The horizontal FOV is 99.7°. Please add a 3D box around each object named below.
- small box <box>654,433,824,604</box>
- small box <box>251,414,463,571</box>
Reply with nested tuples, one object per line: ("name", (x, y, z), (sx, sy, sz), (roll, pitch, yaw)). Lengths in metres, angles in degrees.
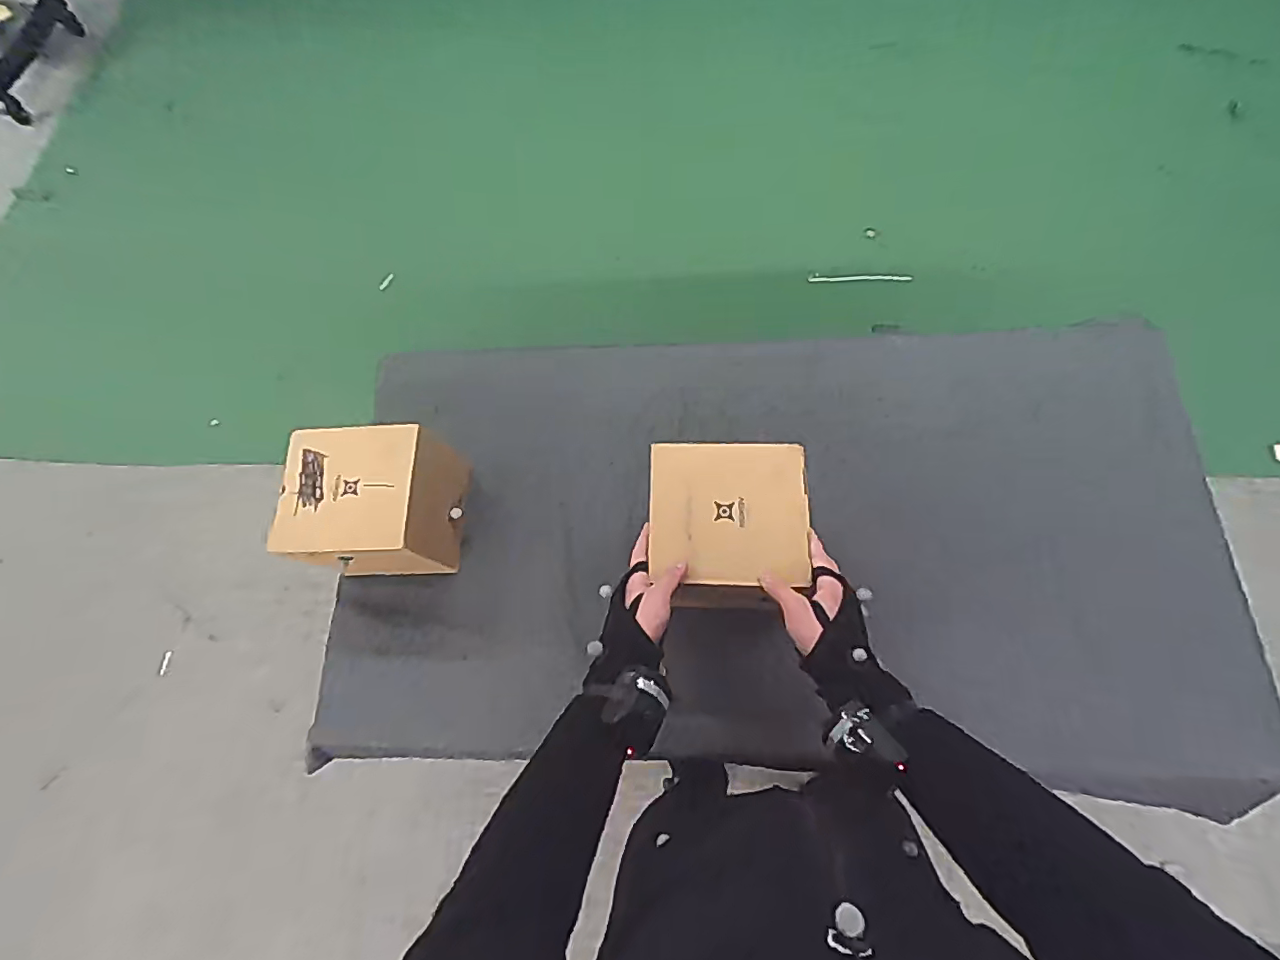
("small box", (0.108, 0.053, 0.656), (0.179, 0.176, 0.168), (0, 68, 3))
("small box", (-0.355, 0.025, 0.715), (0.179, 0.176, 0.168), (-2, 70, 2))
